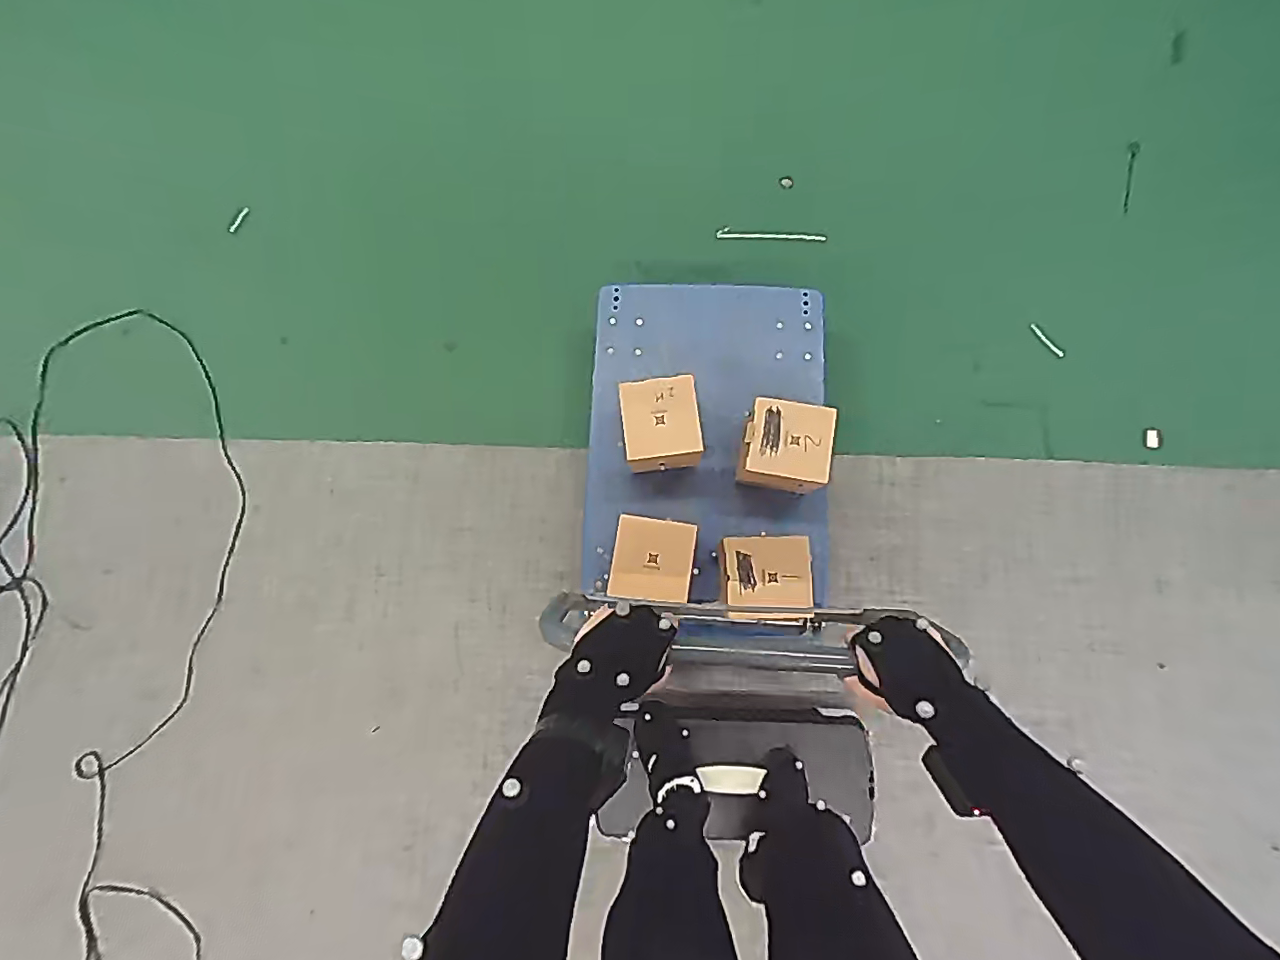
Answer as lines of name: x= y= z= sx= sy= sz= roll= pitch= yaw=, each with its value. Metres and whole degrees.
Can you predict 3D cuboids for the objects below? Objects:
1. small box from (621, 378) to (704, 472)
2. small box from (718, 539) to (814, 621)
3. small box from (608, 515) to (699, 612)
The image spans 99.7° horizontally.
small box: x=0.051 y=-0.117 z=1.237 sx=0.168 sy=0.176 sz=0.179 roll=-6 pitch=80 yaw=0
small box: x=0.263 y=0.216 z=1.172 sx=0.179 sy=0.176 sz=0.168 roll=0 pitch=81 yaw=1
small box: x=0.030 y=0.183 z=1.188 sx=0.168 sy=0.176 sz=0.179 roll=9 pitch=81 yaw=3
